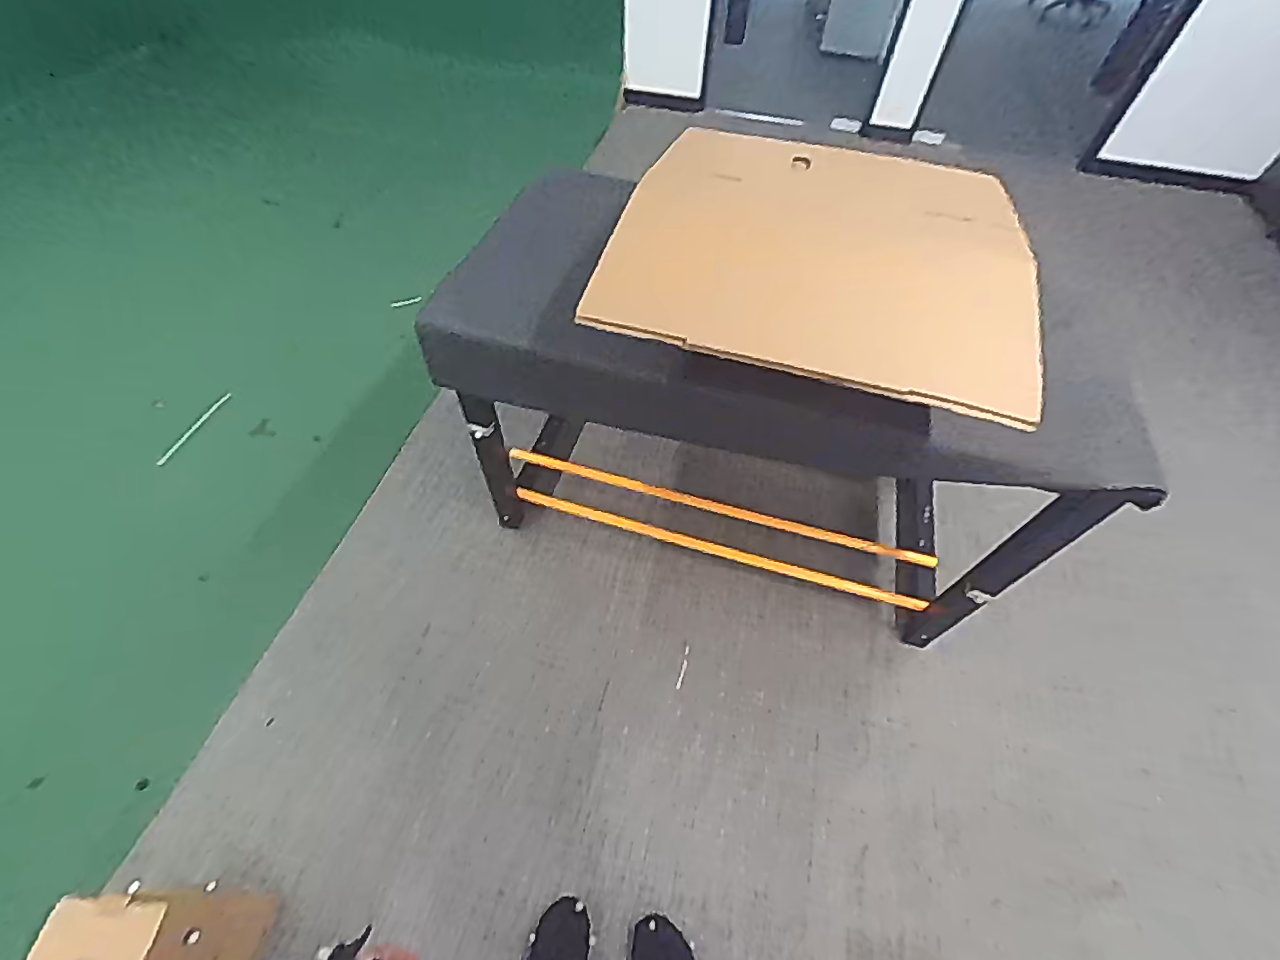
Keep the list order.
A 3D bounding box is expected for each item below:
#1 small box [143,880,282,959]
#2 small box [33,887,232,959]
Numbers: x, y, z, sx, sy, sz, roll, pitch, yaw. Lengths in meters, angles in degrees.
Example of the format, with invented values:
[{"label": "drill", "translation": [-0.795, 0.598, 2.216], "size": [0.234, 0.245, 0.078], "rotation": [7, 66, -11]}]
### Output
[{"label": "small box", "translation": [-0.781, 0.816, 0.951], "size": [0.179, 0.176, 0.168], "rotation": [5, 54, 2]}, {"label": "small box", "translation": [-0.768, 0.728, 0.814], "size": [0.168, 0.176, 0.179], "rotation": [3, 55, 1]}]
